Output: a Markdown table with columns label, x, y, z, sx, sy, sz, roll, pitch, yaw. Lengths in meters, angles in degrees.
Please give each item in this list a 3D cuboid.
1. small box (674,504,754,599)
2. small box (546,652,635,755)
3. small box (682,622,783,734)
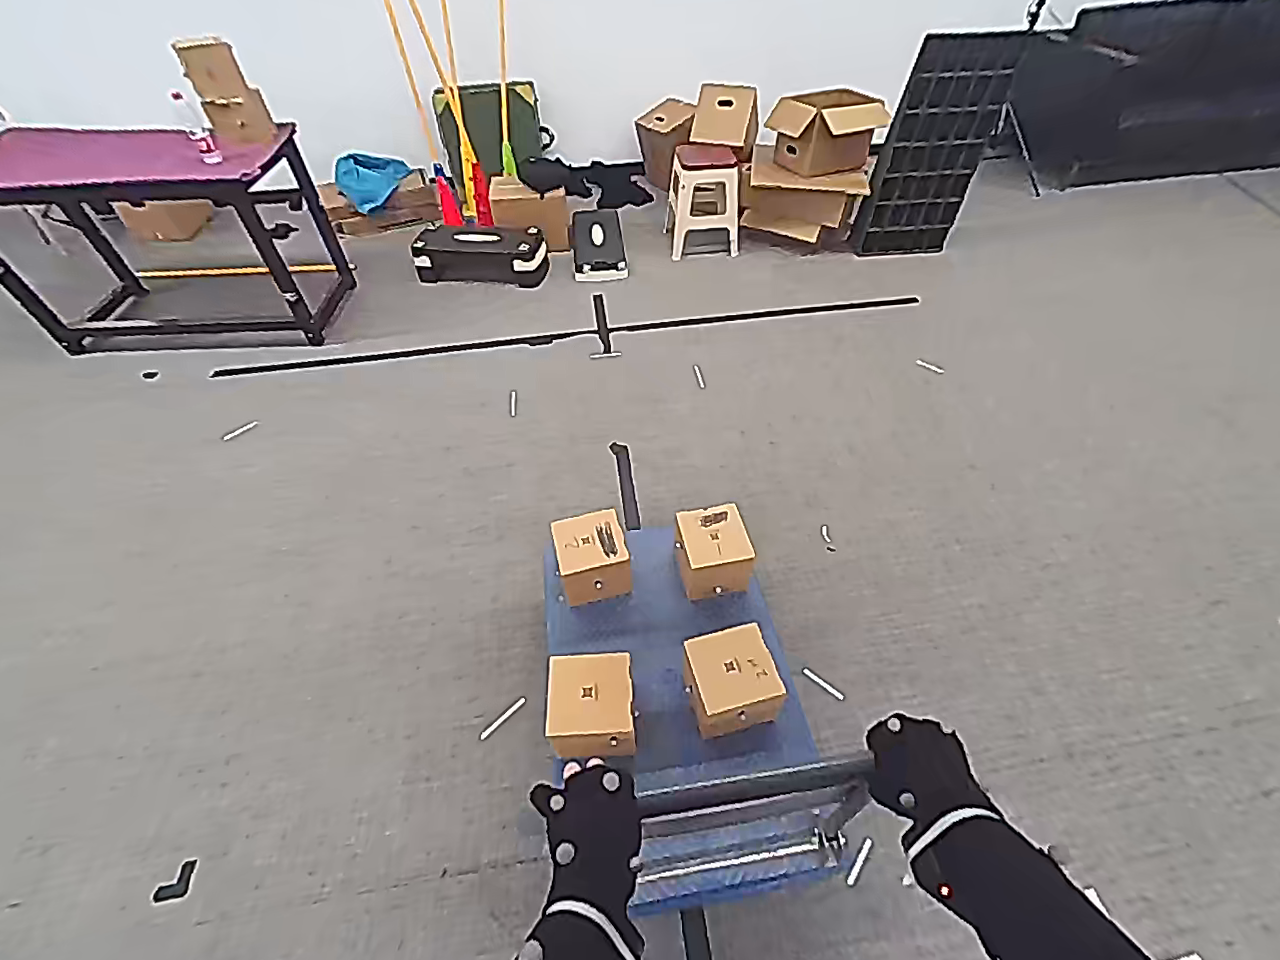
| label | x | y | z | sx | sy | sz | roll | pitch | yaw |
| --- | --- | --- | --- | --- | --- | --- | --- | --- | --- |
| small box | 0.188 | 0.192 | 1.441 | 0.168 | 0.176 | 0.179 | -9 | 50 | -6 |
| small box | -0.103 | 0.495 | 1.191 | 0.179 | 0.176 | 0.168 | -3 | 49 | -2 |
| small box | 0.200 | 0.450 | 1.218 | 0.179 | 0.176 | 0.168 | -12 | 50 | -8 |
